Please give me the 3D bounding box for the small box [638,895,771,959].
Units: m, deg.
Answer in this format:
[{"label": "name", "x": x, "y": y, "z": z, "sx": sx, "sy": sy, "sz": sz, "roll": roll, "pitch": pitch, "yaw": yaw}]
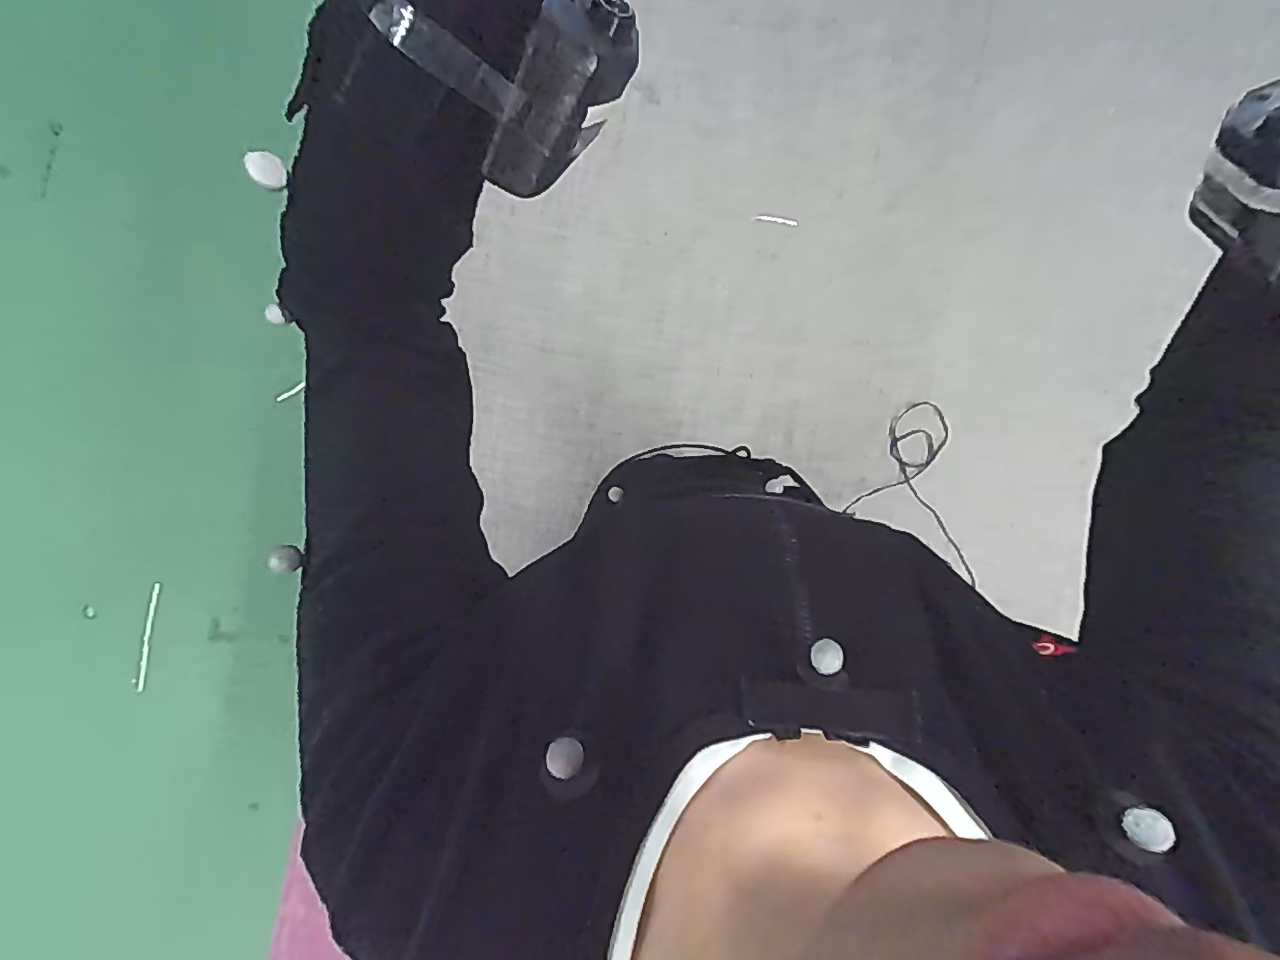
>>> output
[{"label": "small box", "x": 0.079, "y": 0.696, "z": 0.693, "sx": 0.168, "sy": 0.176, "sz": 0.179, "roll": 16, "pitch": 92, "yaw": 0}]
